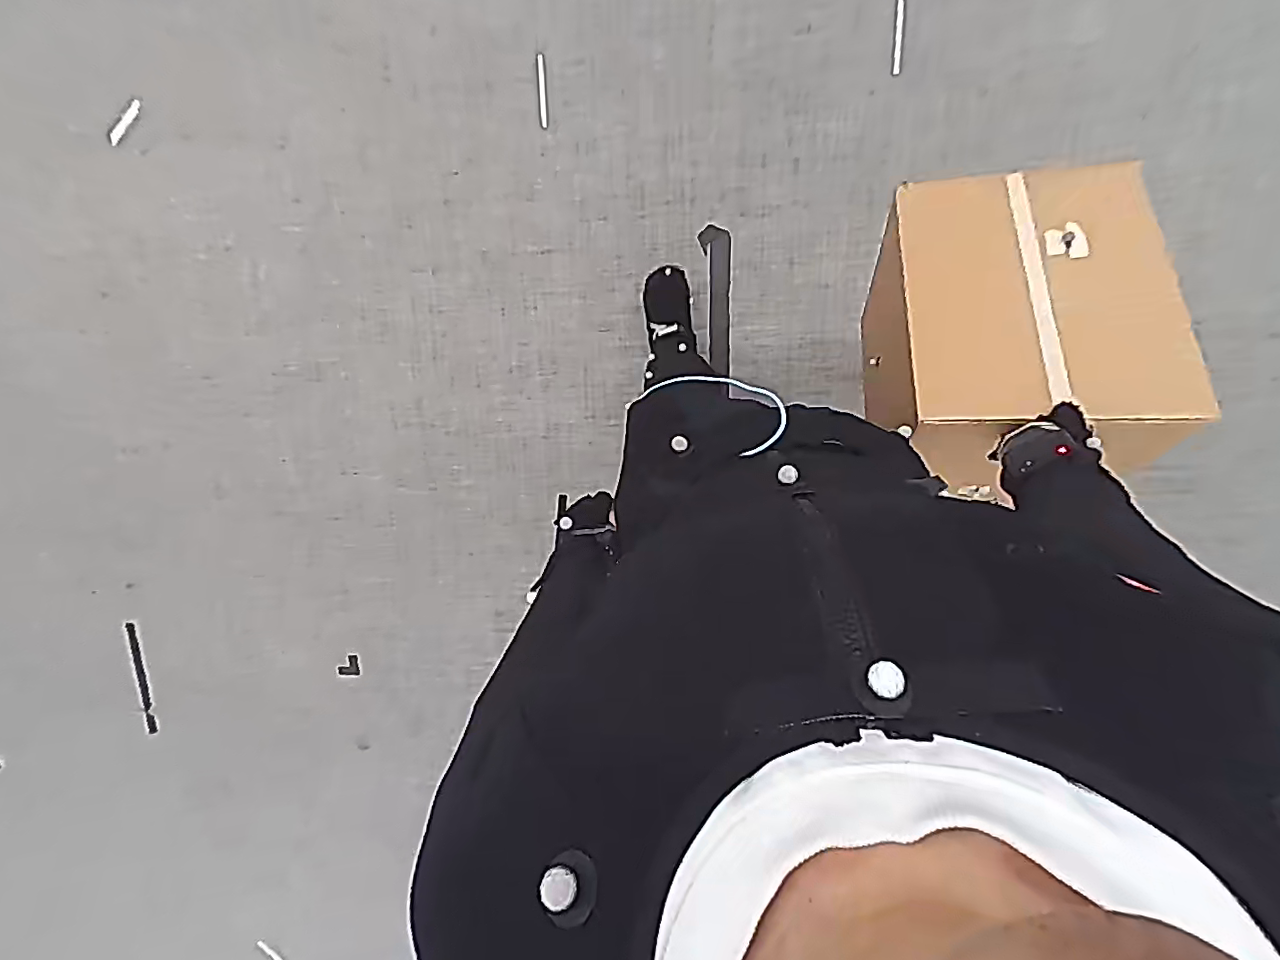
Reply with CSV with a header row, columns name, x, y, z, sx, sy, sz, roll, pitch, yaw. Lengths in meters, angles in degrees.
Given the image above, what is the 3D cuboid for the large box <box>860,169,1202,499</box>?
name,x,y,z,sx,sy,sz,roll,pitch,yaw
large box,0.549,-0.205,0.863,0.320,0.320,0.408,1,68,11
